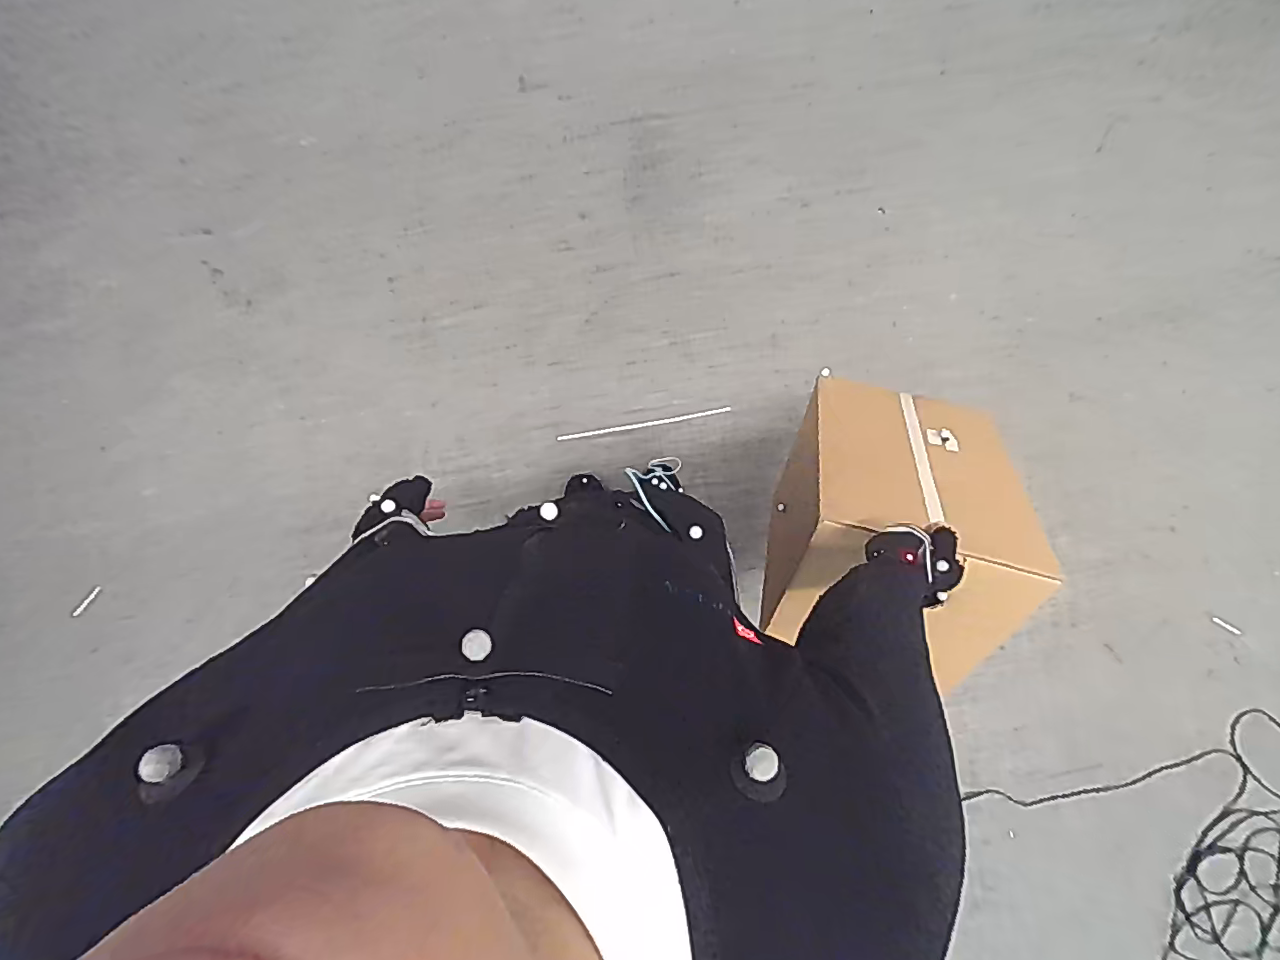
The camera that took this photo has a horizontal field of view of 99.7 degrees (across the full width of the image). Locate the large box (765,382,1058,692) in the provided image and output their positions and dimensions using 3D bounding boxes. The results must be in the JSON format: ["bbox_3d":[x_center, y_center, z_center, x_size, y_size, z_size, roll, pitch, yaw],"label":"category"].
[{"bbox_3d":[0.415,0.085,0.947,0.320,0.408,0.320,15,130,5],"label":"large box"}]
